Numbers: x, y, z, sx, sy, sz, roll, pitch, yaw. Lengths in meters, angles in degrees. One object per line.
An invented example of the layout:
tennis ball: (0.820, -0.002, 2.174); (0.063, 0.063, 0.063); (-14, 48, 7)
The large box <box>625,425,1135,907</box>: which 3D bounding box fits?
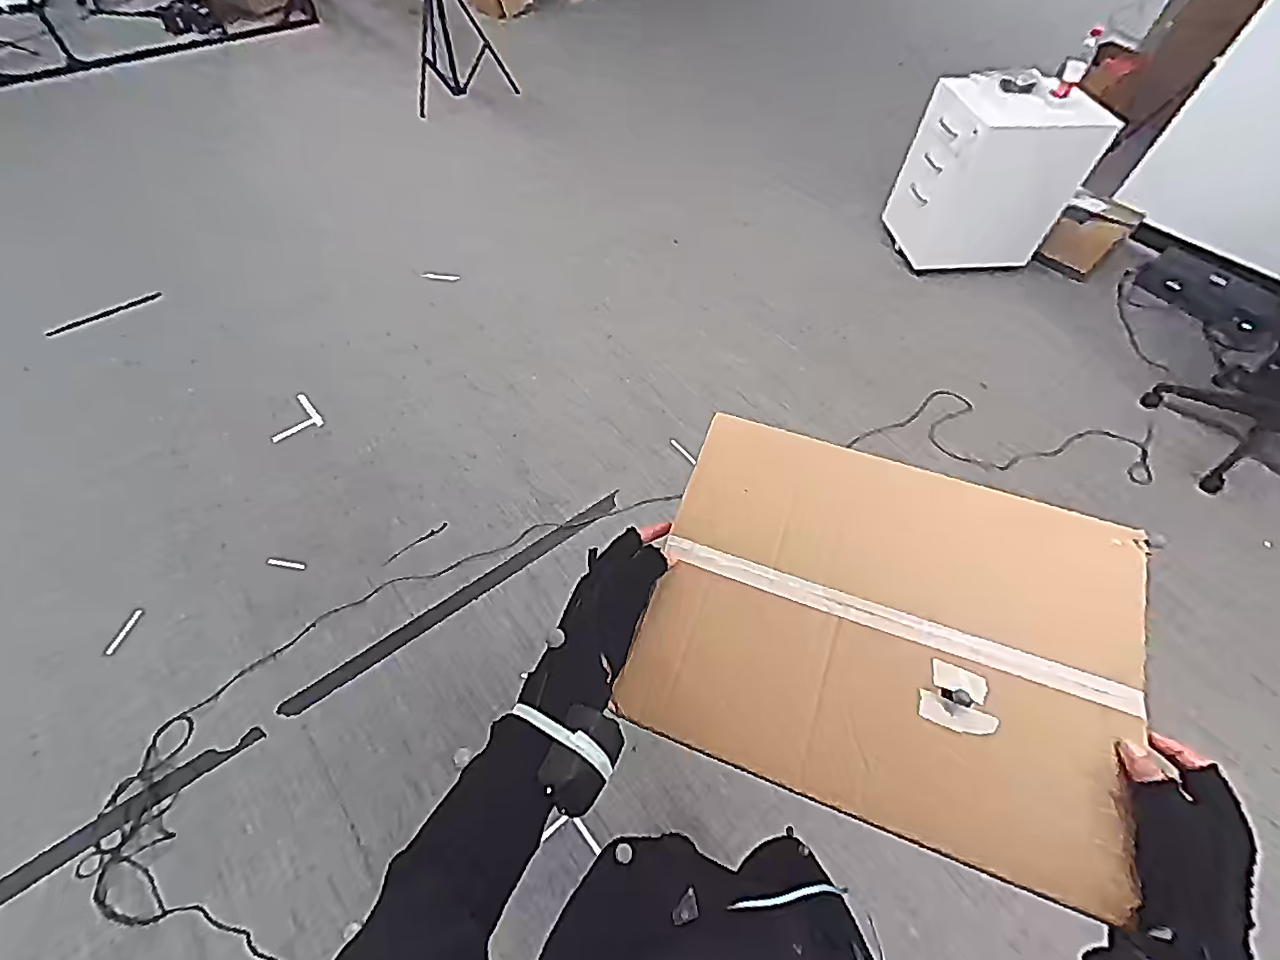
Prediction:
large box: (0.229, 0.187, 0.623); (0.408, 0.320, 0.320); (18, 69, 12)
